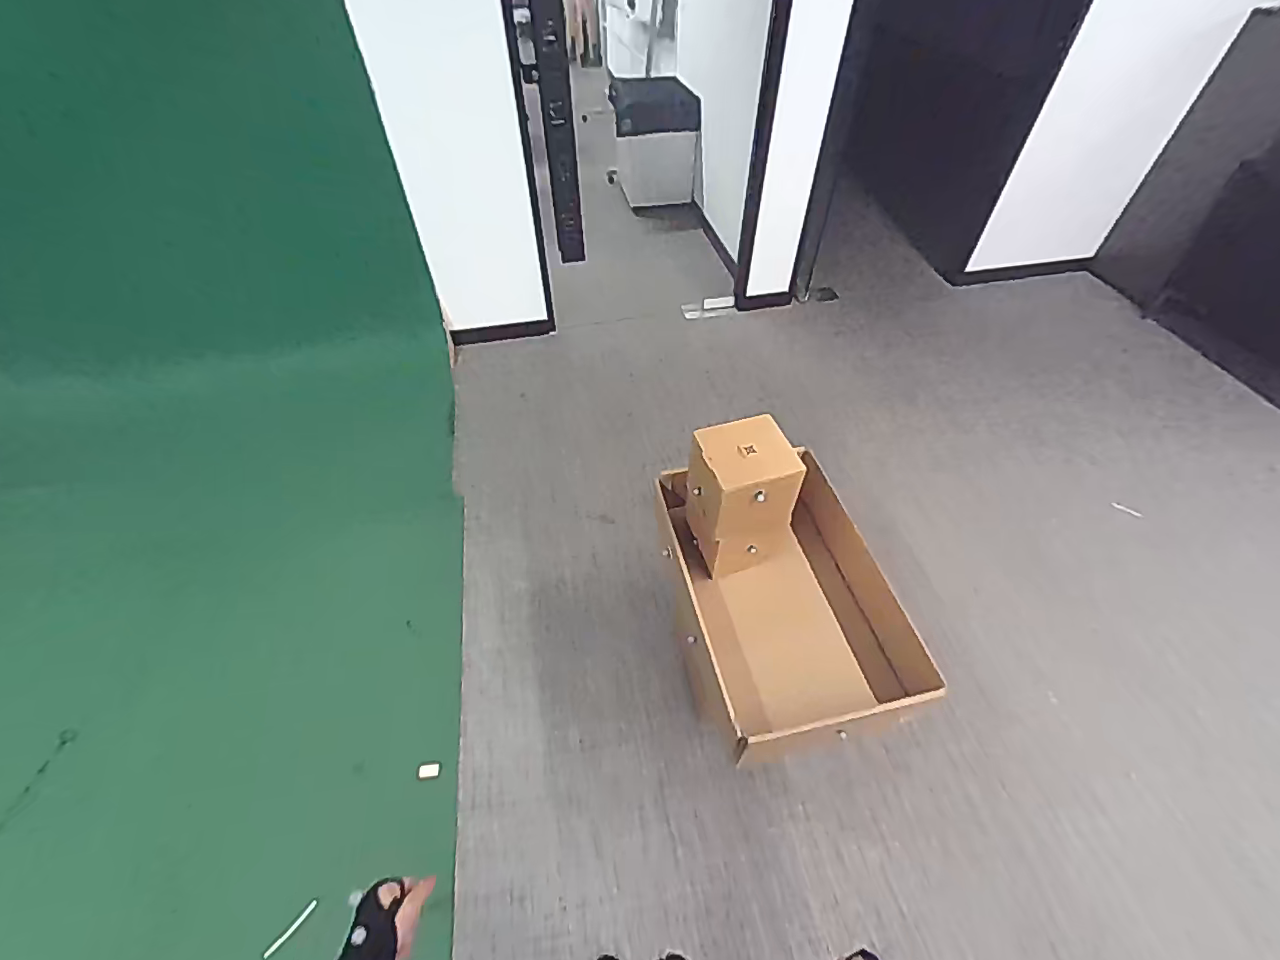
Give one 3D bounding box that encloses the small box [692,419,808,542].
[{"bbox_3d":[0.217,0.003,1.123,0.179,0.176,0.168,-14,51,-10],"label":"small box"}]
